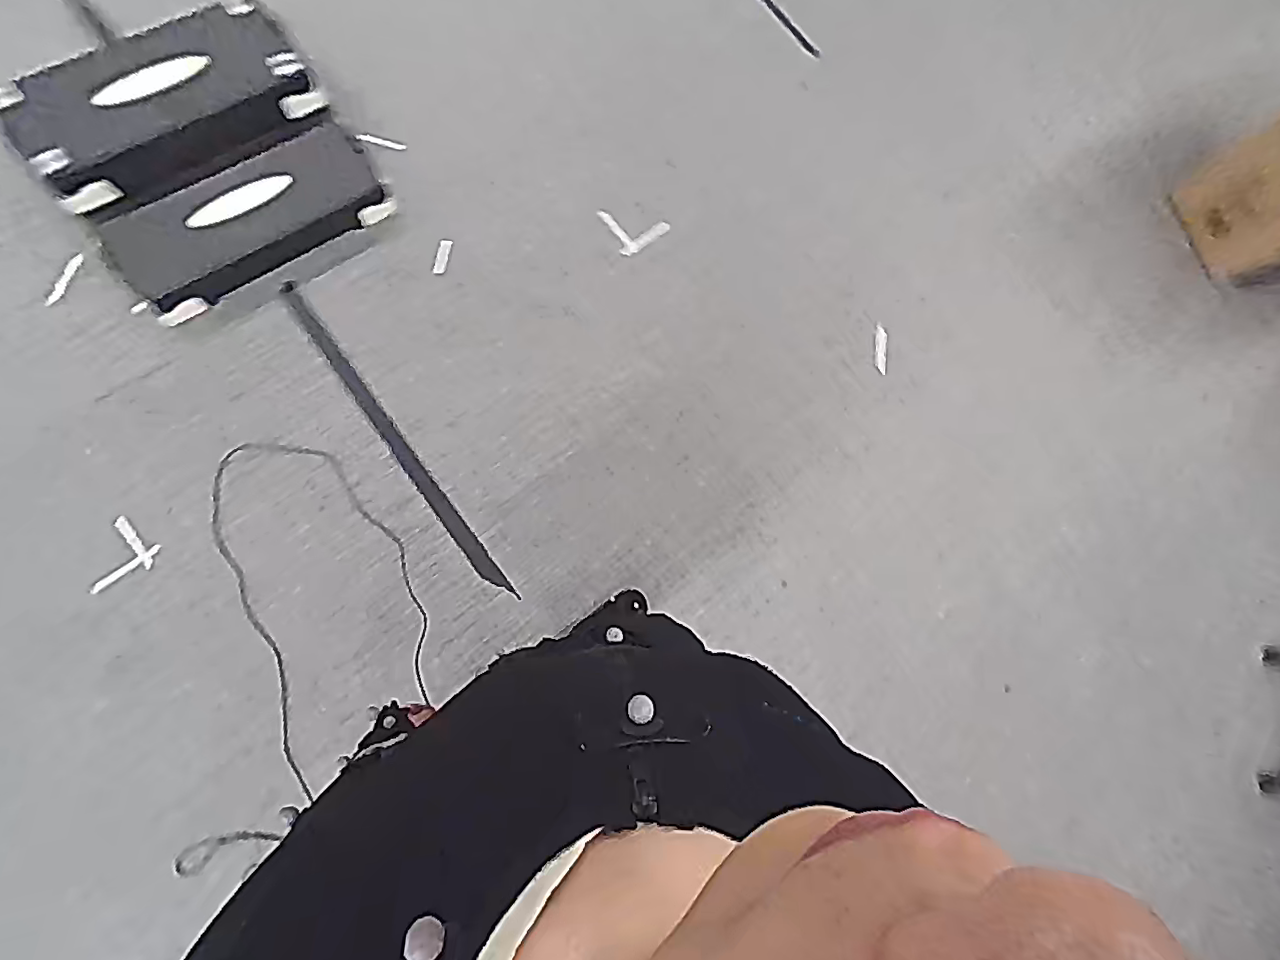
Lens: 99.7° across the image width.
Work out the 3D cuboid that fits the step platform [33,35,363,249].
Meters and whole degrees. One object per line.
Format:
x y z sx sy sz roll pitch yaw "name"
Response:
-1.130 -0.896 1.425 0.684 0.204 0.286 -31 83 -14 "step platform"
